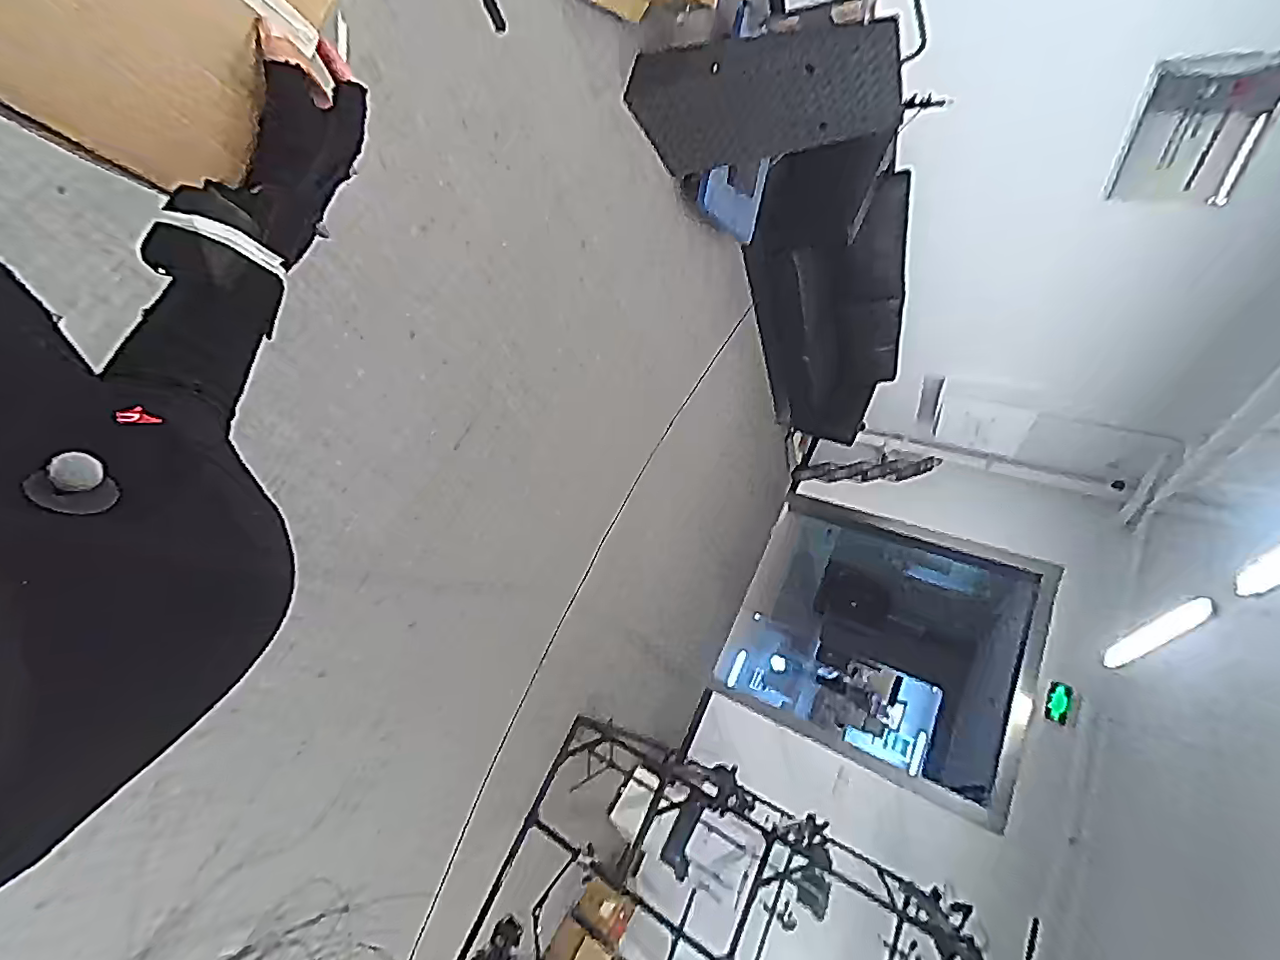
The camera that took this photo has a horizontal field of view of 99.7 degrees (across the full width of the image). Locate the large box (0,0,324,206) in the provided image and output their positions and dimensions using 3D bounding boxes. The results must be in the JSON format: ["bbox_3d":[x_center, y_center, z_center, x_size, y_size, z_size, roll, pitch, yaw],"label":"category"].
[{"bbox_3d":[-0.476,-0.454,0.335,0.320,0.320,0.408,-62,152,3],"label":"large box"}]
